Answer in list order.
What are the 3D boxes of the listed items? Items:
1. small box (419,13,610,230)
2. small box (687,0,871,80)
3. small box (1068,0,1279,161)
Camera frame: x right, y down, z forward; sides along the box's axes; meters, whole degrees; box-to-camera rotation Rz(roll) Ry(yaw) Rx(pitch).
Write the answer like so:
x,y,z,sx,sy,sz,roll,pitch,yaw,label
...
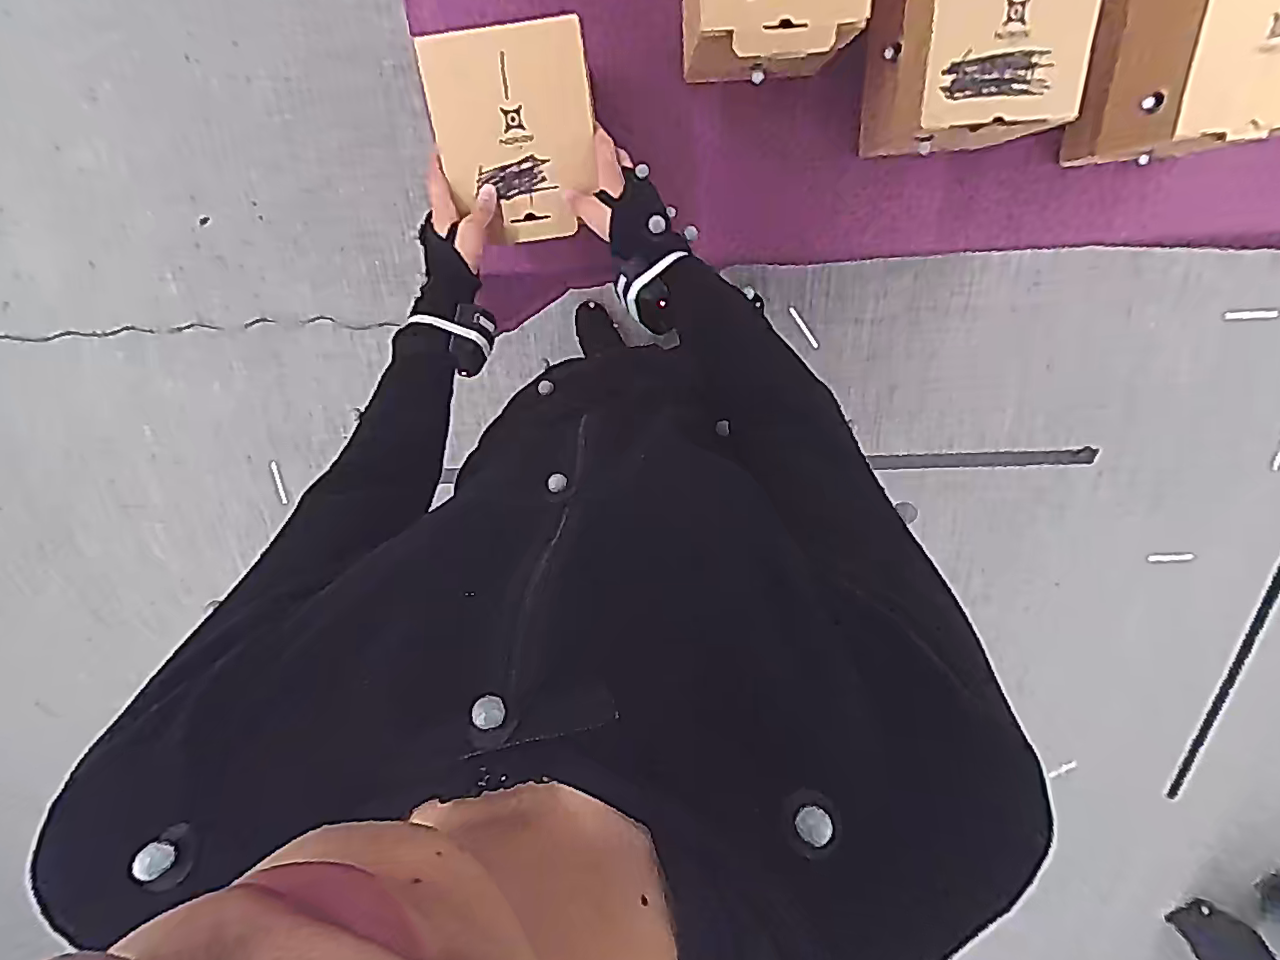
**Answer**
x,y,z,sx,sy,sz,roll,pitch,yaw,label
-0.128,-0.395,0.630,0.168,0.176,0.179,-7,112,1,small box
0.138,-0.554,0.570,0.168,0.176,0.179,-3,113,0,small box
0.640,-0.482,0.615,0.168,0.176,0.179,-5,113,1,small box
